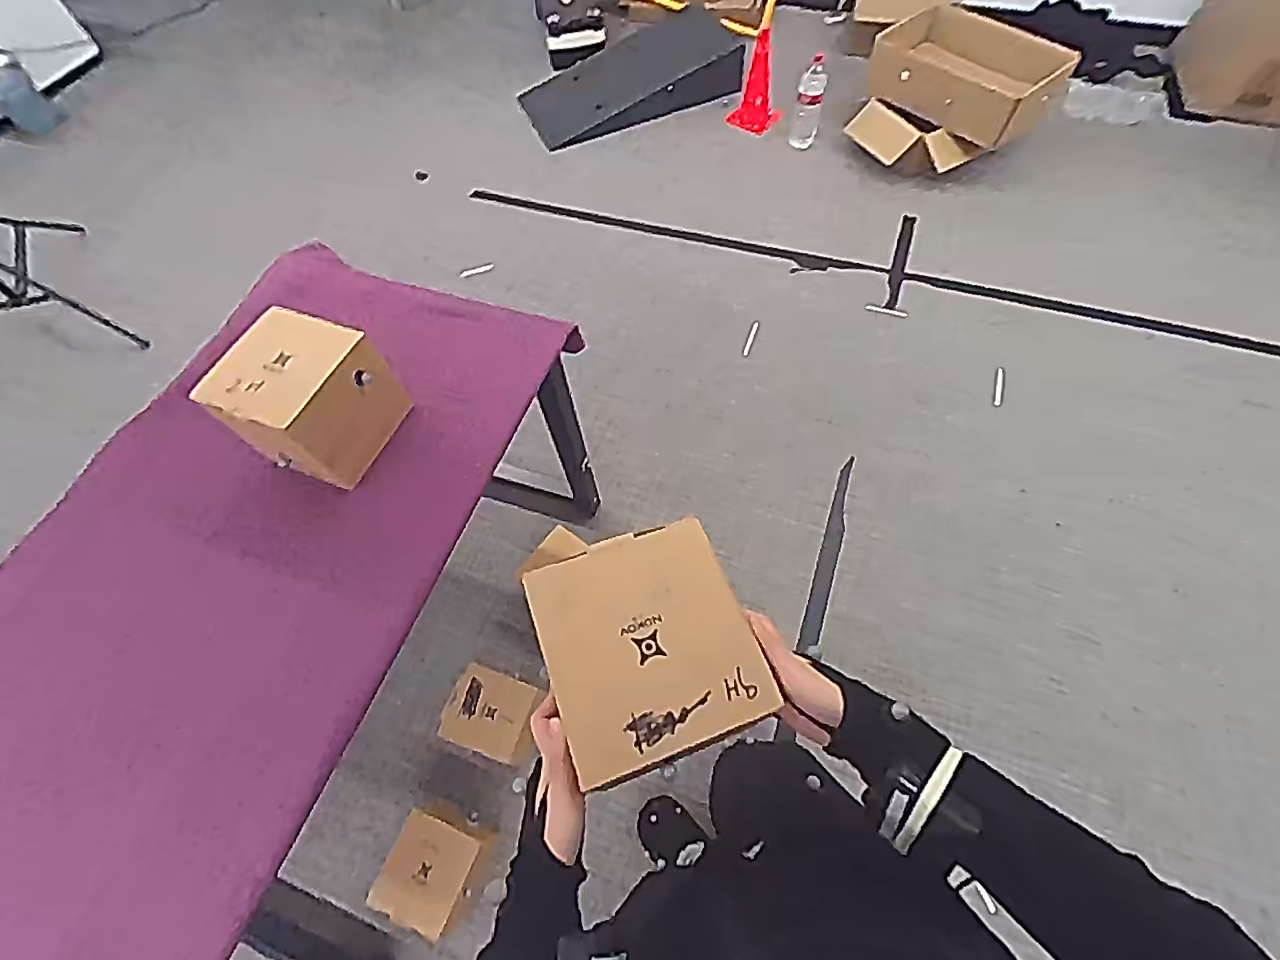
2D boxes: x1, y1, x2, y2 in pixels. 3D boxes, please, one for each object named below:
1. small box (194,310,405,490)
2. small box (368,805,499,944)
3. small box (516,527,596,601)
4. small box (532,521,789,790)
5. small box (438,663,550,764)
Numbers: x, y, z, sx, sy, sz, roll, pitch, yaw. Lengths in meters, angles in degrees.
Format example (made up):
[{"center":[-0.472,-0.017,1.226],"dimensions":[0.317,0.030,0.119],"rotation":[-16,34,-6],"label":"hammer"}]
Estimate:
[{"center":[-0.480,-0.114,0.801],"dimensions":[0.168,0.176,0.179],"rotation":[18,65,13],"label":"small box"},{"center":[-0.420,0.813,1.137],"dimensions":[0.168,0.176,0.179],"rotation":[19,64,12],"label":"small box"},{"center":[-0.193,0.258,1.416],"dimensions":[0.168,0.176,0.179],"rotation":[33,70,18],"label":"small box"},{"center":[0.008,0.168,0.503],"dimensions":[0.168,0.176,0.179],"rotation":[-17,62,-10],"label":"small box"},{"center":[-0.331,0.551,1.268],"dimensions":[0.179,0.176,0.168],"rotation":[17,65,11],"label":"small box"}]
